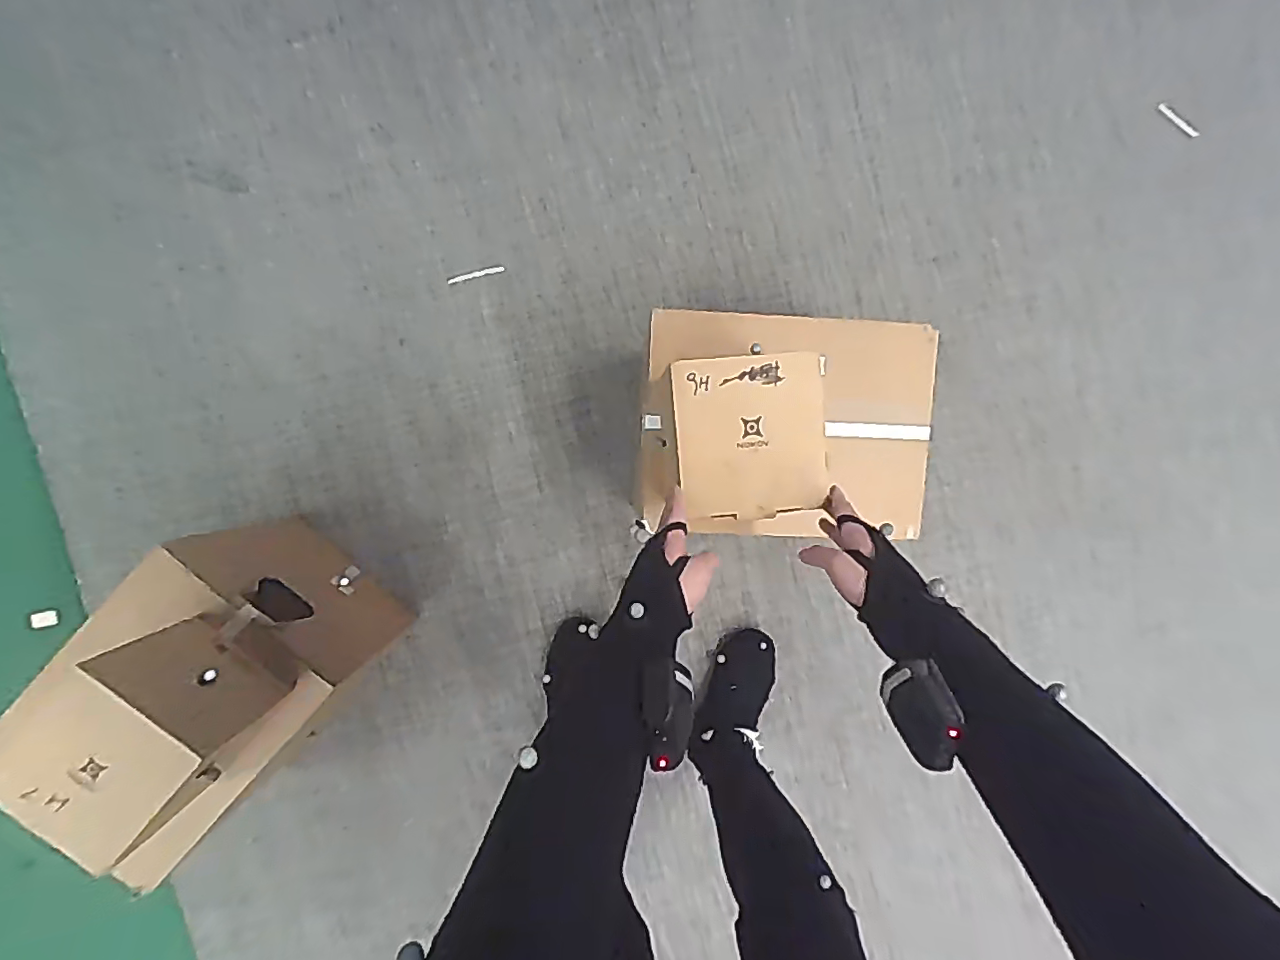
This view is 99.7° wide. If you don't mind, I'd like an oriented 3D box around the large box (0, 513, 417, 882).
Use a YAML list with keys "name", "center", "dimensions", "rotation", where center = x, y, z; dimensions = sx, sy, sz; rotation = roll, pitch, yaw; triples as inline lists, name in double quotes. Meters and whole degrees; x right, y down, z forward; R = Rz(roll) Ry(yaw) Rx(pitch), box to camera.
- name: "large box"
  center: [-0.664, 0.315, 0.900]
  dimensions: [0.320, 0.320, 0.408]
  rotation: [42, 92, -2]

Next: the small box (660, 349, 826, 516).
- name: "small box"
  center: [0.117, -0.058, 0.667]
  dimensions: [0.168, 0.176, 0.179]
  rotation: [-4, 95, -3]

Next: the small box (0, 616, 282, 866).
- name: "small box"
  center: [-0.583, 0.296, 0.655]
  dimensions: [0.168, 0.176, 0.179]
  rotation: [42, 91, -4]
